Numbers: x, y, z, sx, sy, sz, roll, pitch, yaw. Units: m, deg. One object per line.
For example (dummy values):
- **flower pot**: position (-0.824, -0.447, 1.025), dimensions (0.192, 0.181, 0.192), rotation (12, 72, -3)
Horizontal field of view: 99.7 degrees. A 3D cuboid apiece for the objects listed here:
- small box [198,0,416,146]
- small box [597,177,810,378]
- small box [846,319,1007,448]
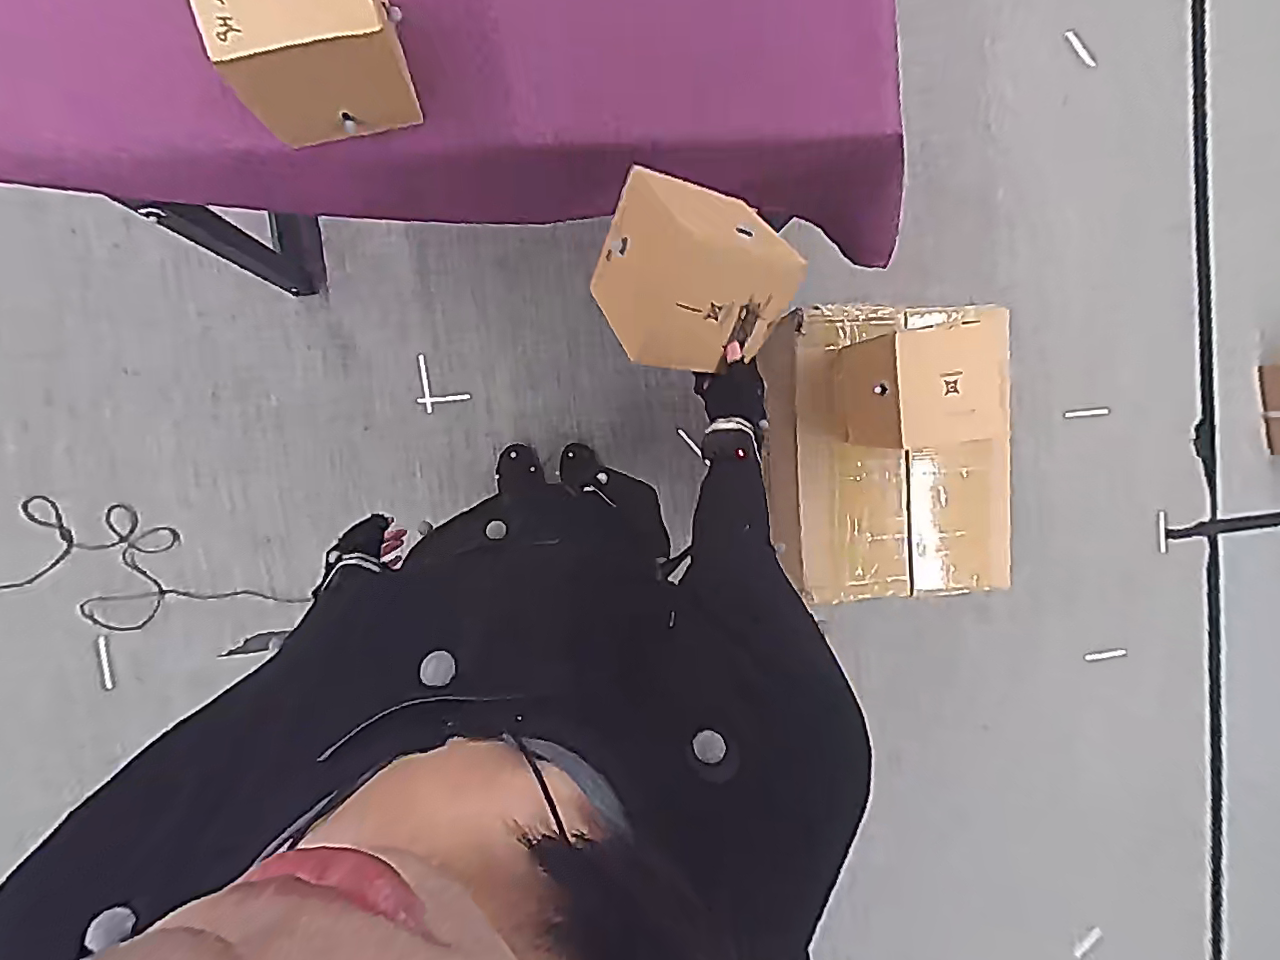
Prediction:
- **small box**: position (-0.378, -0.526, 0.627), dimensions (0.179, 0.176, 0.168), rotation (-16, 95, -7)
- **small box**: position (0.069, -0.253, 0.686), dimensions (0.179, 0.176, 0.168), rotation (1, 136, -31)
- **small box**: position (0.448, -0.147, 0.868), dimensions (0.168, 0.176, 0.179), rotation (-8, 96, -4)
